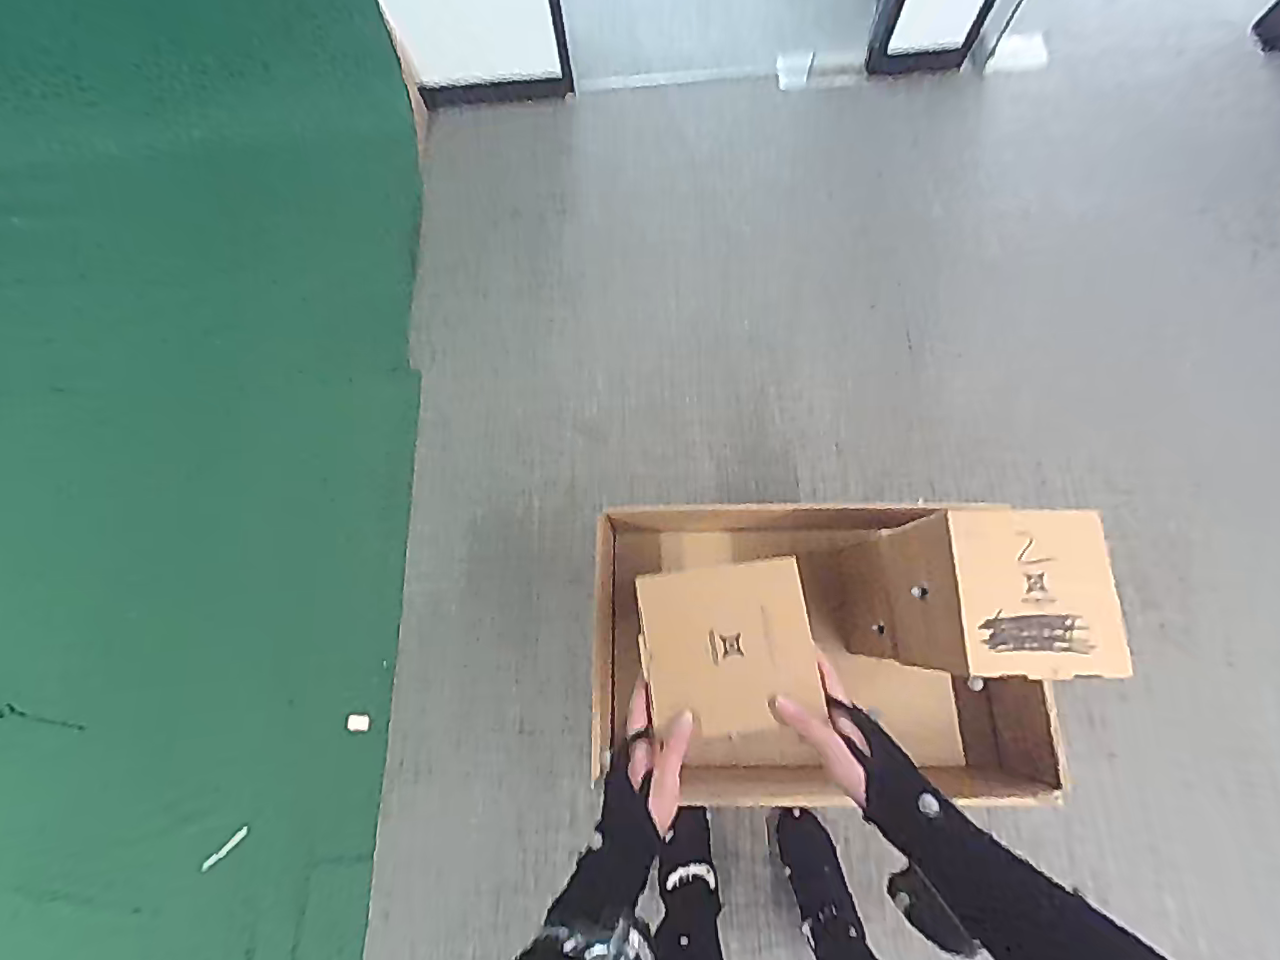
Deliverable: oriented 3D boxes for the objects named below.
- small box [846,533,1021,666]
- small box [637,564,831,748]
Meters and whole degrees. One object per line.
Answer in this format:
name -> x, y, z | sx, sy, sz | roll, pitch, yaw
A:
small box -> 0.419, 0.180, 0.806 | 0.168, 0.176, 0.179 | 0, 75, 2
small box -> 0.096, 0.200, 0.624 | 0.179, 0.176, 0.168 | -7, 72, 0
